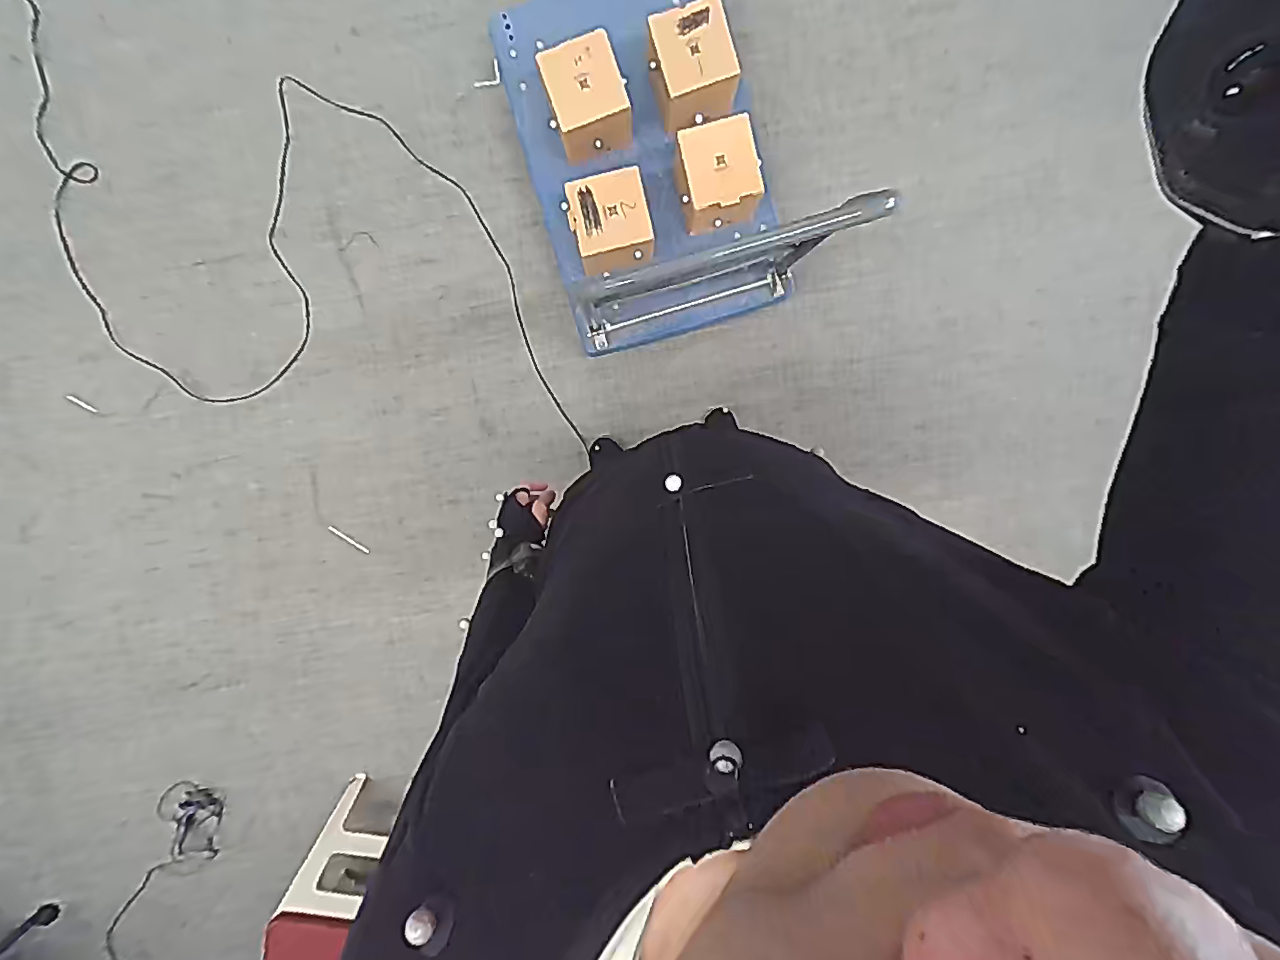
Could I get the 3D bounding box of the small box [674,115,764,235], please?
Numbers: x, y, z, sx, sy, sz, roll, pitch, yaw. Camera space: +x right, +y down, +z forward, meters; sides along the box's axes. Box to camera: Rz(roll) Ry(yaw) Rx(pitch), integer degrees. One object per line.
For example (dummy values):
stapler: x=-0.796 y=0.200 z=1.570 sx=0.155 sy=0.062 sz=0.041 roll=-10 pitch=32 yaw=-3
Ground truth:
small box: x=0.182 y=-0.719 z=1.292 sx=0.168 sy=0.176 sz=0.179 roll=-14 pitch=95 yaw=2

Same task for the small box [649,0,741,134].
small box: x=0.120 y=-0.959 z=1.262 sx=0.168 sy=0.176 sz=0.179 roll=-18 pitch=97 yaw=3

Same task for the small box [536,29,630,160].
small box: x=-0.126 y=-0.888 z=1.270 sx=0.168 sy=0.176 sz=0.179 roll=-20 pitch=96 yaw=1
